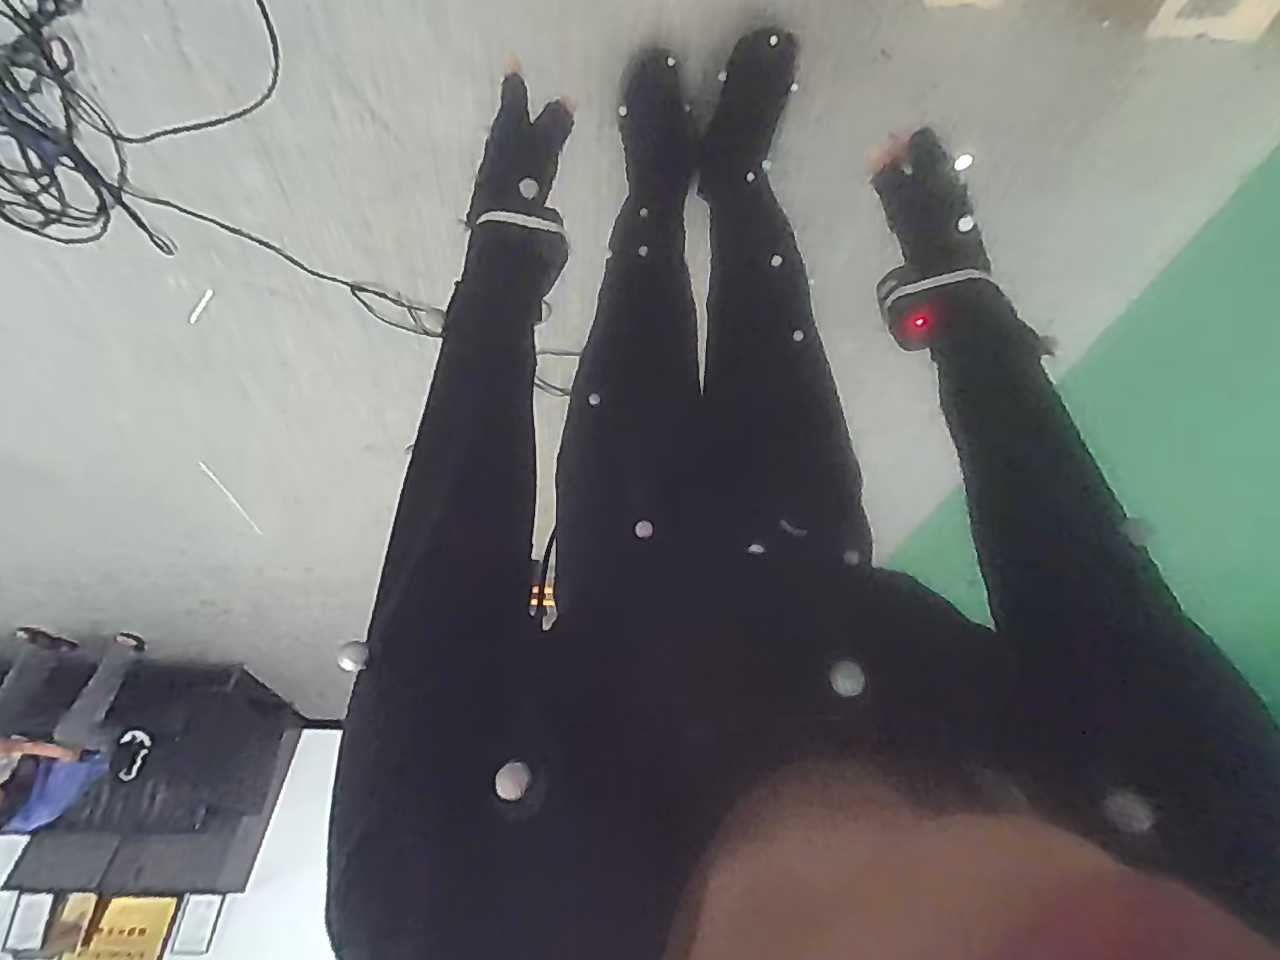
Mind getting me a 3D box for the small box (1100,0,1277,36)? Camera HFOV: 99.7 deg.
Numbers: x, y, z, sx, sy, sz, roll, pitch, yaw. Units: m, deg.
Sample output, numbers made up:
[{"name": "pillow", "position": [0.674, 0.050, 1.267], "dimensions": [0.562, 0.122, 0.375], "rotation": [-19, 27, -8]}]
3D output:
[{"name": "small box", "position": [0.790, -0.750, 0.746], "dimensions": [0.168, 0.176, 0.179], "rotation": [1, 141, -2]}]
